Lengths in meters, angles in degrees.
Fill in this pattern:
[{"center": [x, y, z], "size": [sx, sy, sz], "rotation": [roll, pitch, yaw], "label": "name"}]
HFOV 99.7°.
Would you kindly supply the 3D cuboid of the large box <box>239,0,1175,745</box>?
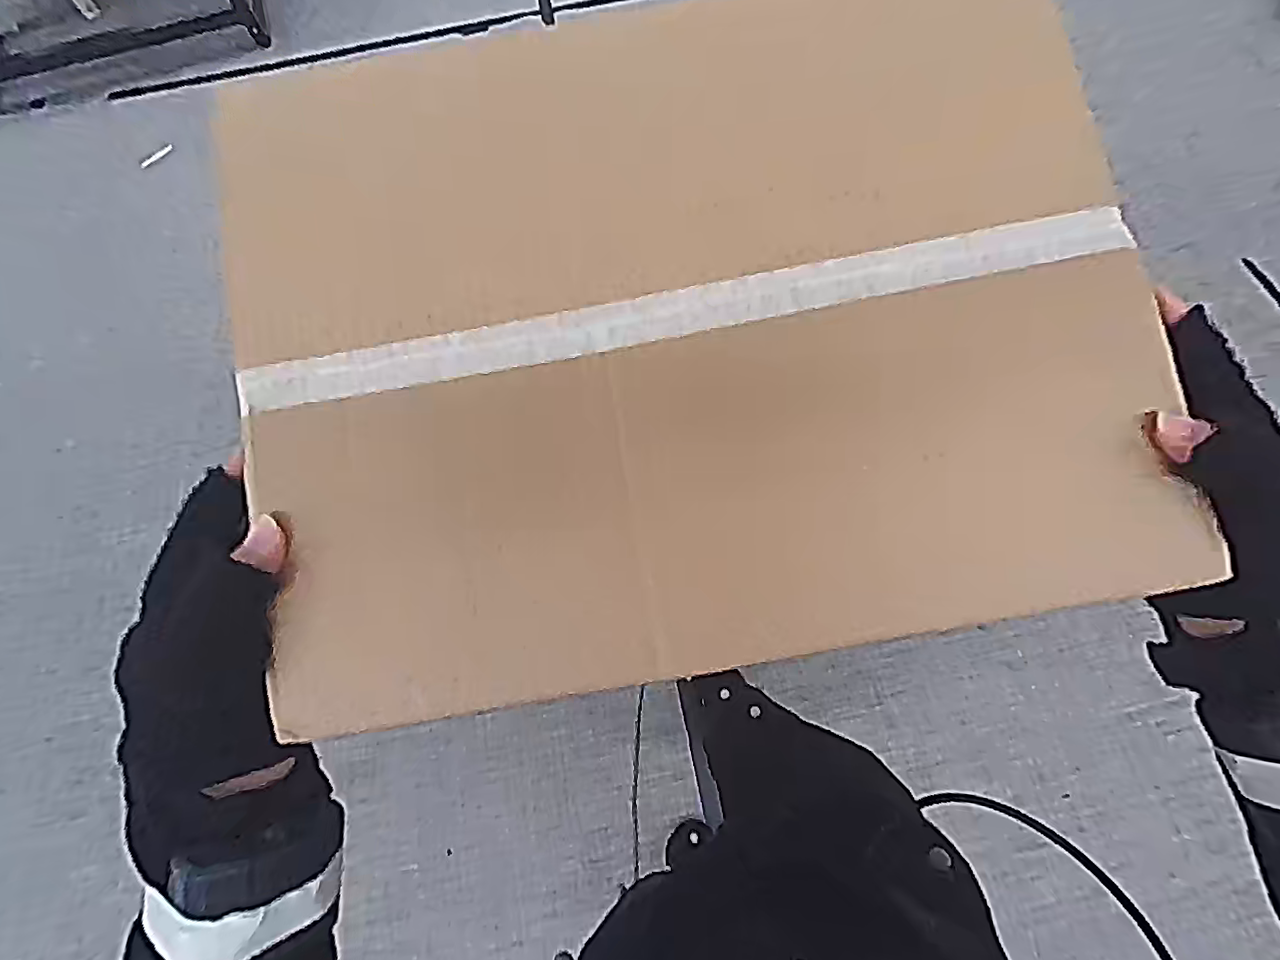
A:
[{"center": [0.023, -0.052, 0.404], "size": [0.408, 0.320, 0.320], "rotation": [-11, 83, 1], "label": "large box"}]
